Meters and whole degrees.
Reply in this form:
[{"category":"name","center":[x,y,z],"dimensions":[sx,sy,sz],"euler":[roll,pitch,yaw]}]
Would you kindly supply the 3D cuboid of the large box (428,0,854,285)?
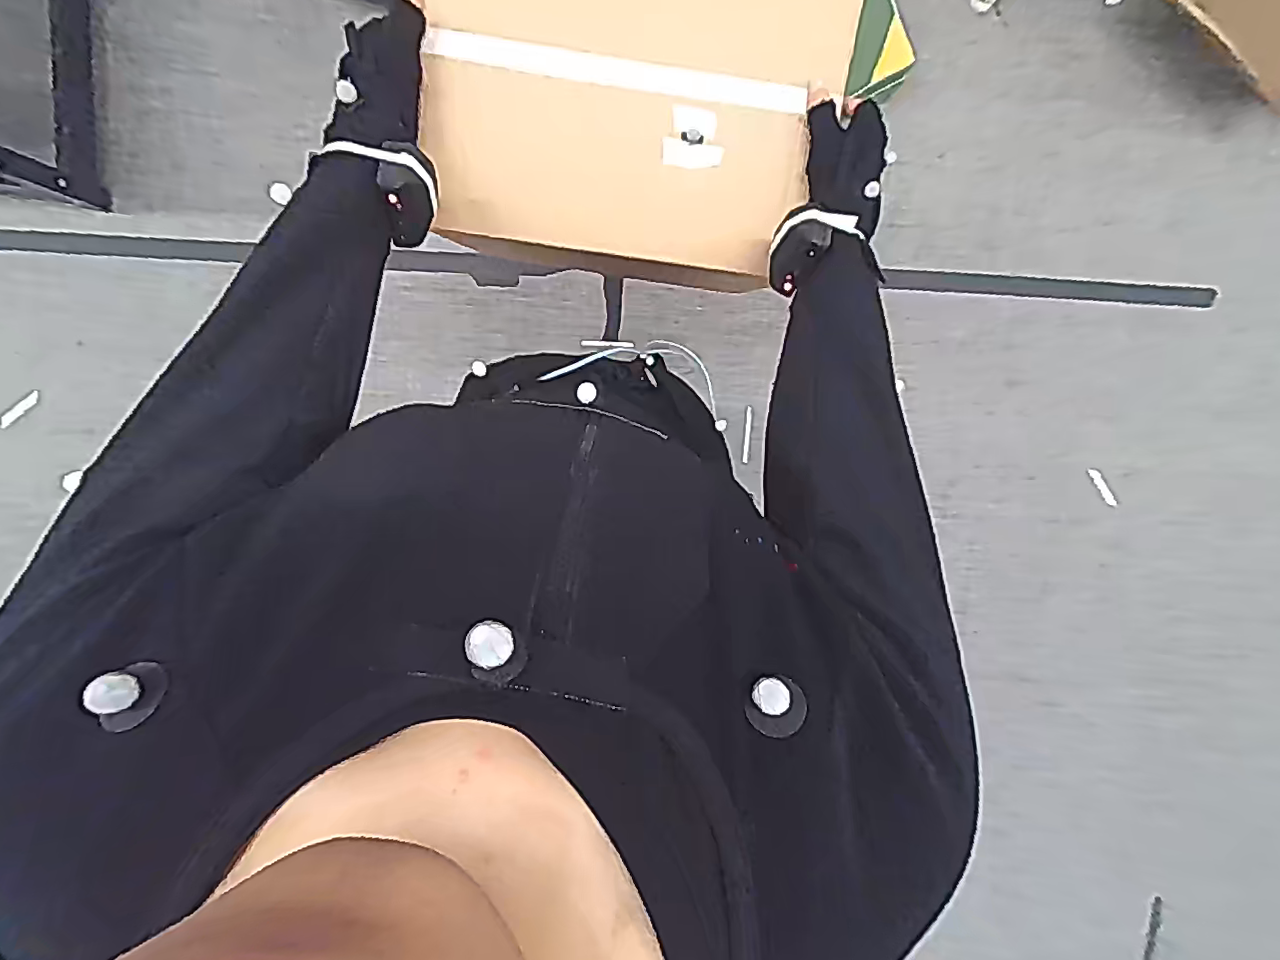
[{"category":"large box","center":[-0.012,-0.431,0.666],"dimensions":[0.408,0.320,0.320],"euler":[6,107,-5]}]
